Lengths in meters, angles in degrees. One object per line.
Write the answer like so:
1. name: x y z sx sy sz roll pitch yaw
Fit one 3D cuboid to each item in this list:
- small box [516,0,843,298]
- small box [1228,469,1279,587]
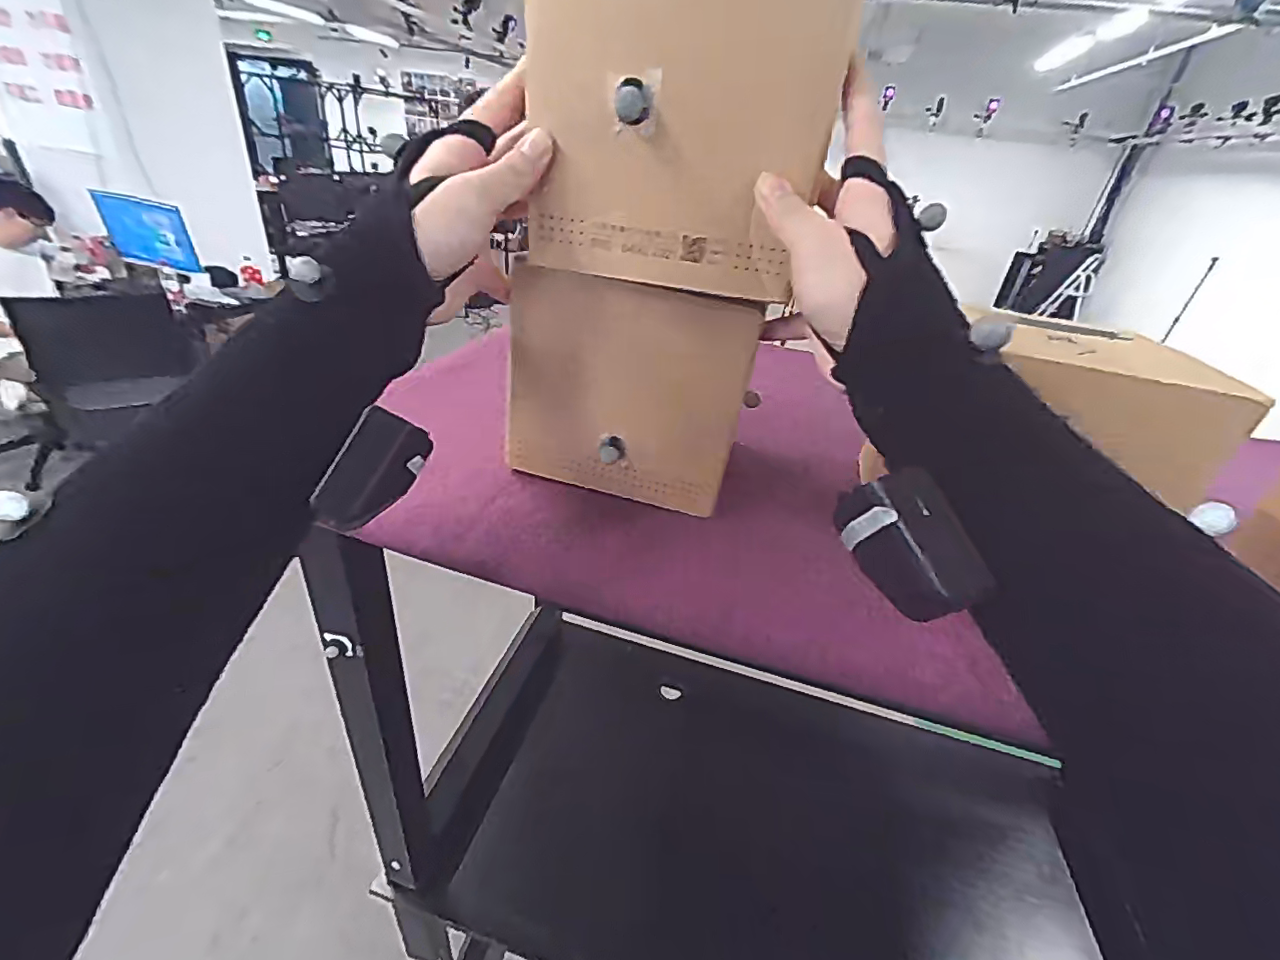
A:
1. small box: 0.031 -0.230 0.361 0.168 0.176 0.179 10 33 8
2. small box: 0.587 0.044 0.362 0.168 0.176 0.179 13 30 8
